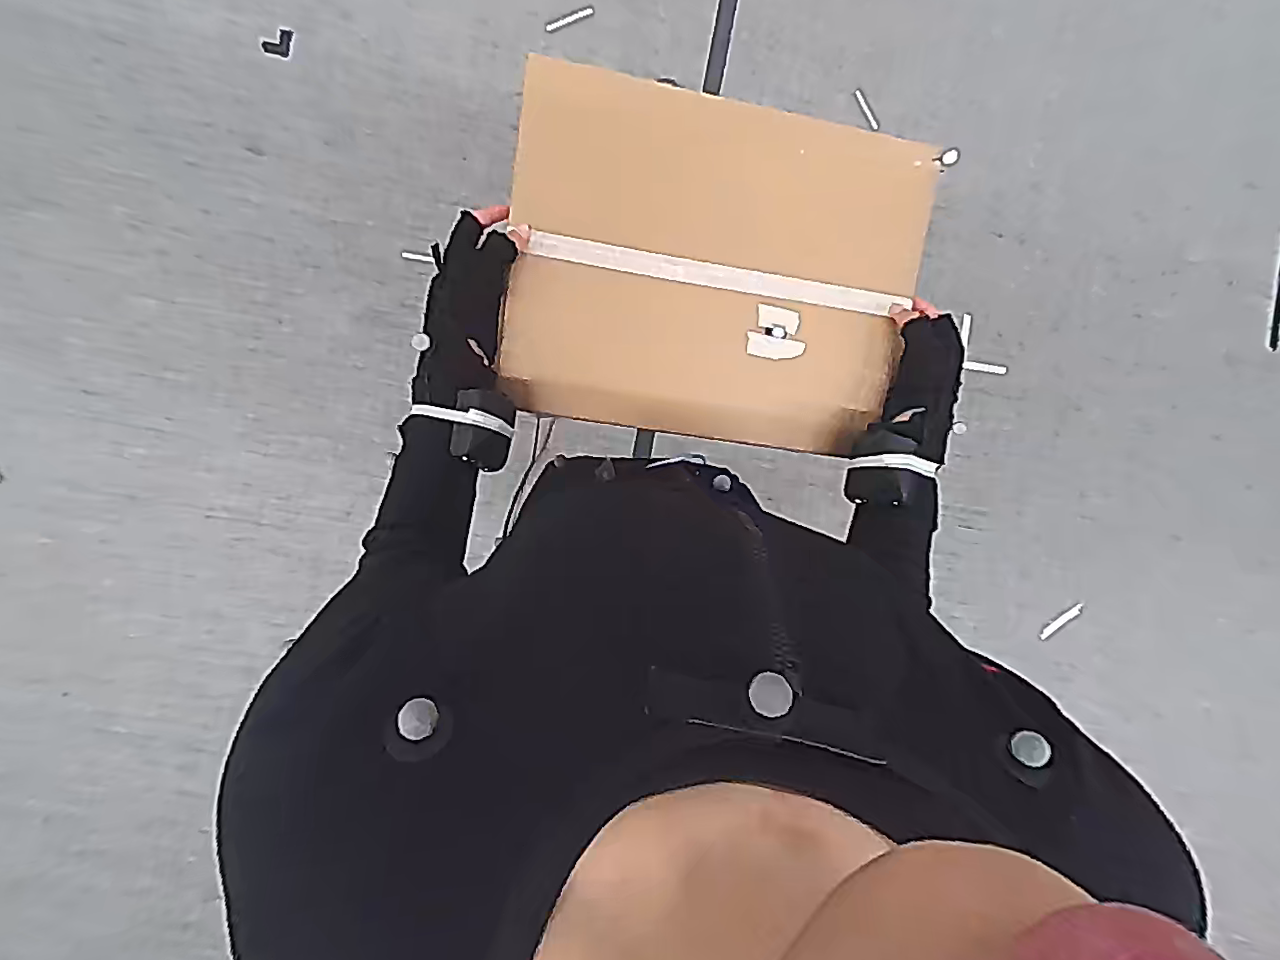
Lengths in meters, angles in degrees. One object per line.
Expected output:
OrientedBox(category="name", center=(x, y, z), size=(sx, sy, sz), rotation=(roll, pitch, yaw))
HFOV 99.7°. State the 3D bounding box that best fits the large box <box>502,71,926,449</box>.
OrientedBox(category="large box", center=(0.057, -0.229, 0.688), size=(0.408, 0.320, 0.320), rotation=(8, 100, -8))
